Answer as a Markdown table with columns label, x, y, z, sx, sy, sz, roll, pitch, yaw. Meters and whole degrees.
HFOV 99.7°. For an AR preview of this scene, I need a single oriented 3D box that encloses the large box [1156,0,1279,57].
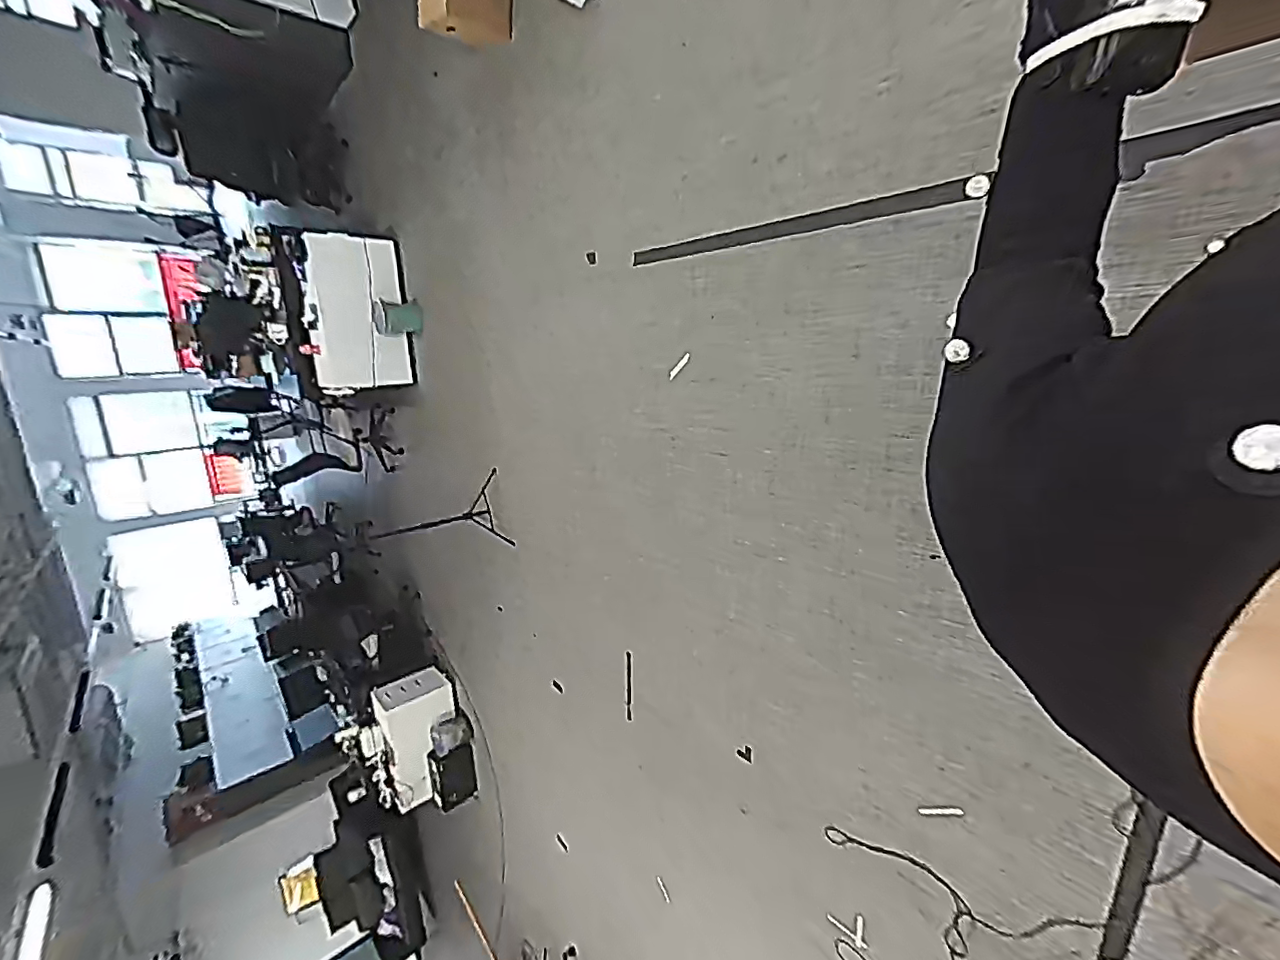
| label | x | y | z | sx | sy | sz | roll | pitch | yaw |
| --- | --- | --- | --- | --- | --- | --- | --- | --- | --- |
| large box | 0.549 | -0.493 | 0.265 | 0.408 | 0.320 | 0.320 | 9 | 118 | 46 |
